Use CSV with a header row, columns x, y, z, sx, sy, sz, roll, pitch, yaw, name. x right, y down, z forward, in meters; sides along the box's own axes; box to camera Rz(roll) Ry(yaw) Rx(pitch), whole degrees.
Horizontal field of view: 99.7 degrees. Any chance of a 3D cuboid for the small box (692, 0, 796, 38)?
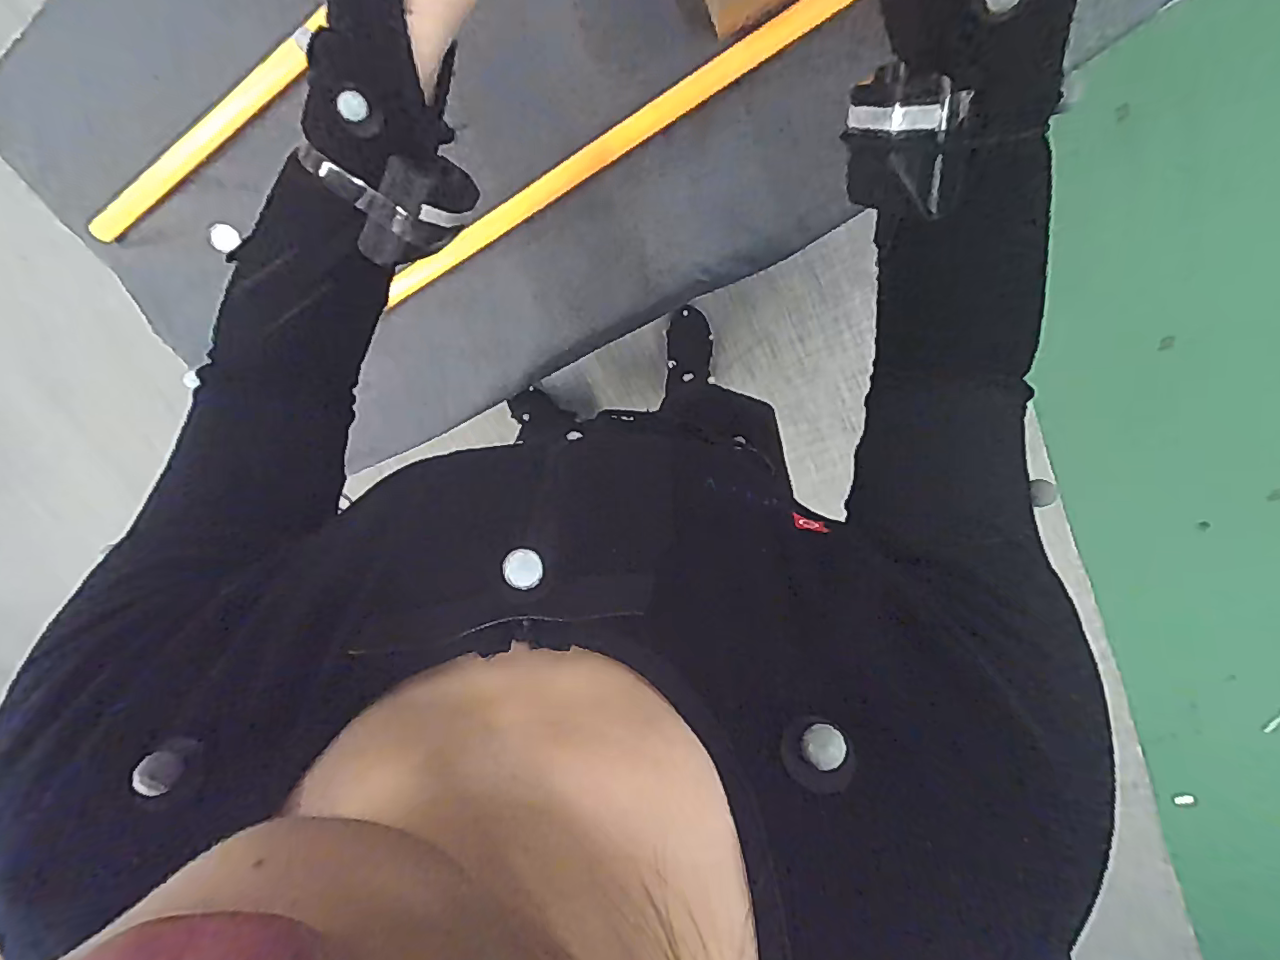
x,y,z,sx,sy,sz,roll,pitch,yaw,name
0.099,-0.496,0.425,0.168,0.176,0.179,-20,108,17,small box
